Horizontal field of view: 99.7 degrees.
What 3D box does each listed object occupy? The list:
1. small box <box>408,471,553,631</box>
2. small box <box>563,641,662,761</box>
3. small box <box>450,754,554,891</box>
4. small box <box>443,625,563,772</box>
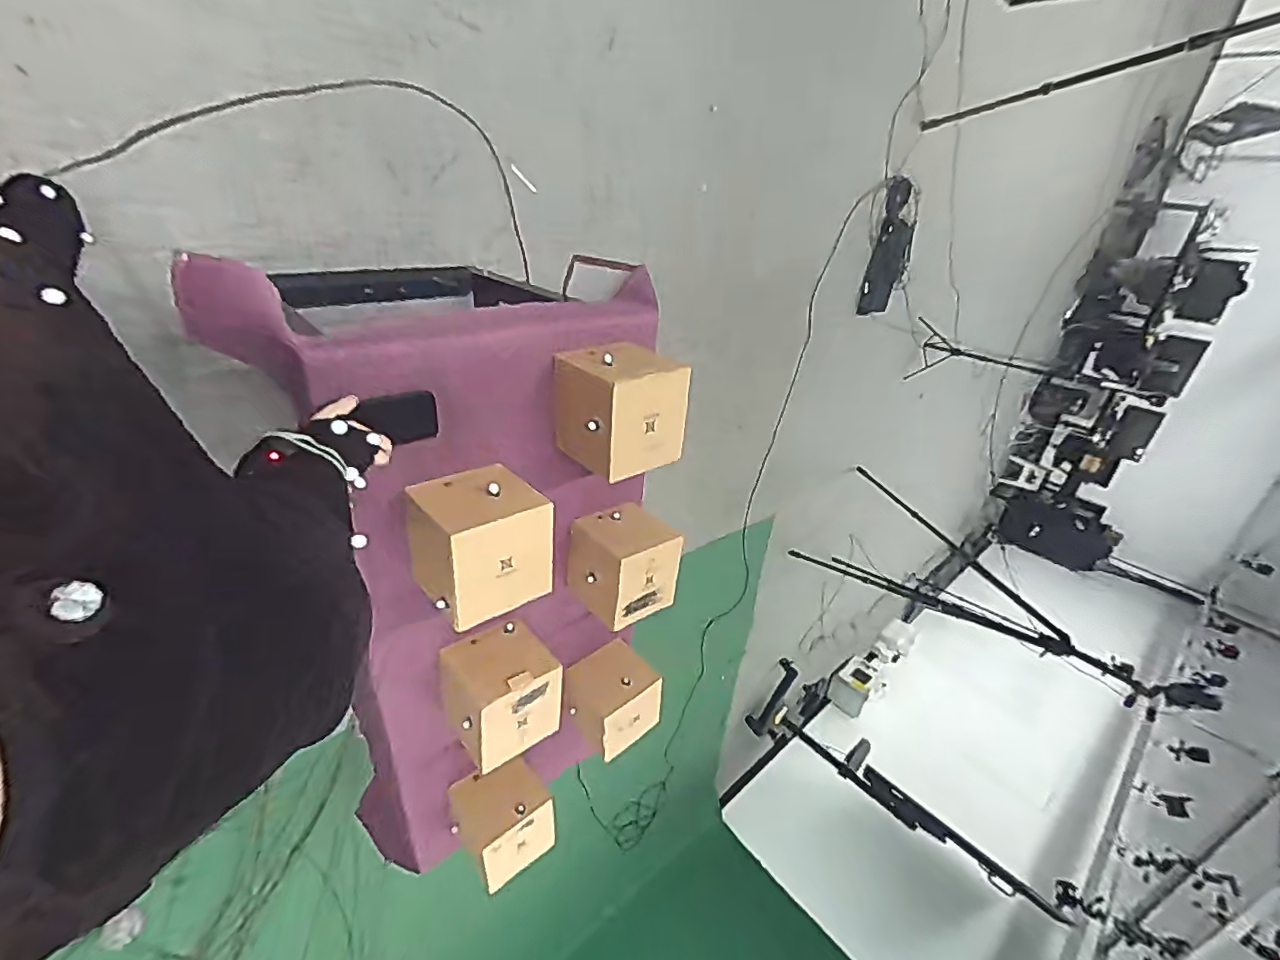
[{"bbox_3d":[-0.256,0.099,0.868,0.168,0.176,0.179,-19,127,-38],"label":"small box"},{"bbox_3d":[-0.069,0.530,1.324,0.179,0.176,0.168,-22,127,-36],"label":"small box"},{"bbox_3d":[-0.308,0.754,1.214,0.168,0.176,0.179,-21,128,-37],"label":"small box"},{"bbox_3d":[-0.267,0.405,1.043,0.168,0.176,0.179,-17,125,-39],"label":"small box"}]
